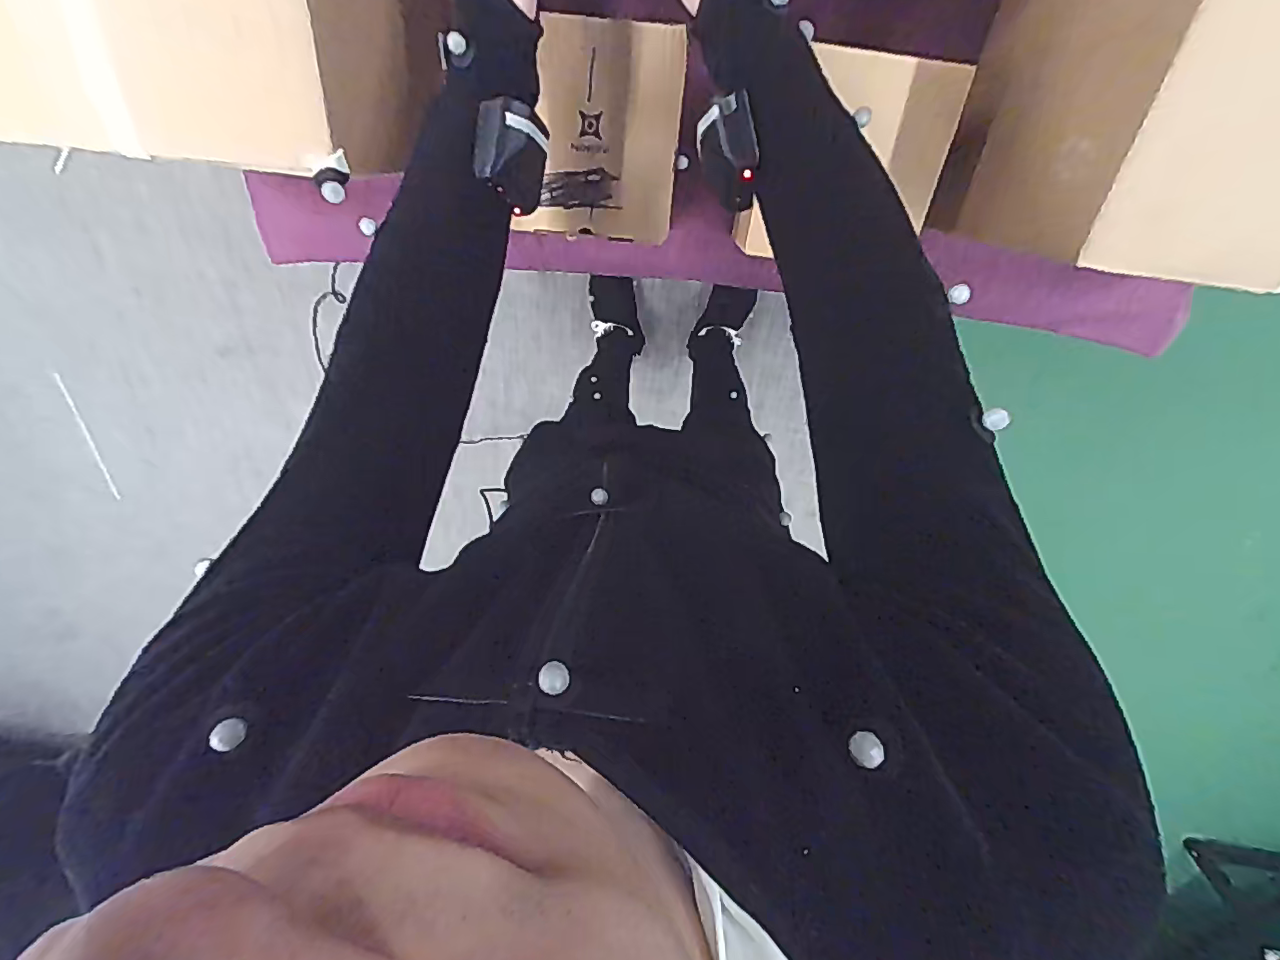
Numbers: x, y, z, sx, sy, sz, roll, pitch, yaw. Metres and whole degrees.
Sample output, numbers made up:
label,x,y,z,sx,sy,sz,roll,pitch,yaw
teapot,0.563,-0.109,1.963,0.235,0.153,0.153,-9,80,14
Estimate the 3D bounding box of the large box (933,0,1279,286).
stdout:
label,x,y,z,sx,sy,sz,roll,pitch,yaw
large box,0.512,-0.394,0.433,0.320,0.320,0.408,7,122,1
